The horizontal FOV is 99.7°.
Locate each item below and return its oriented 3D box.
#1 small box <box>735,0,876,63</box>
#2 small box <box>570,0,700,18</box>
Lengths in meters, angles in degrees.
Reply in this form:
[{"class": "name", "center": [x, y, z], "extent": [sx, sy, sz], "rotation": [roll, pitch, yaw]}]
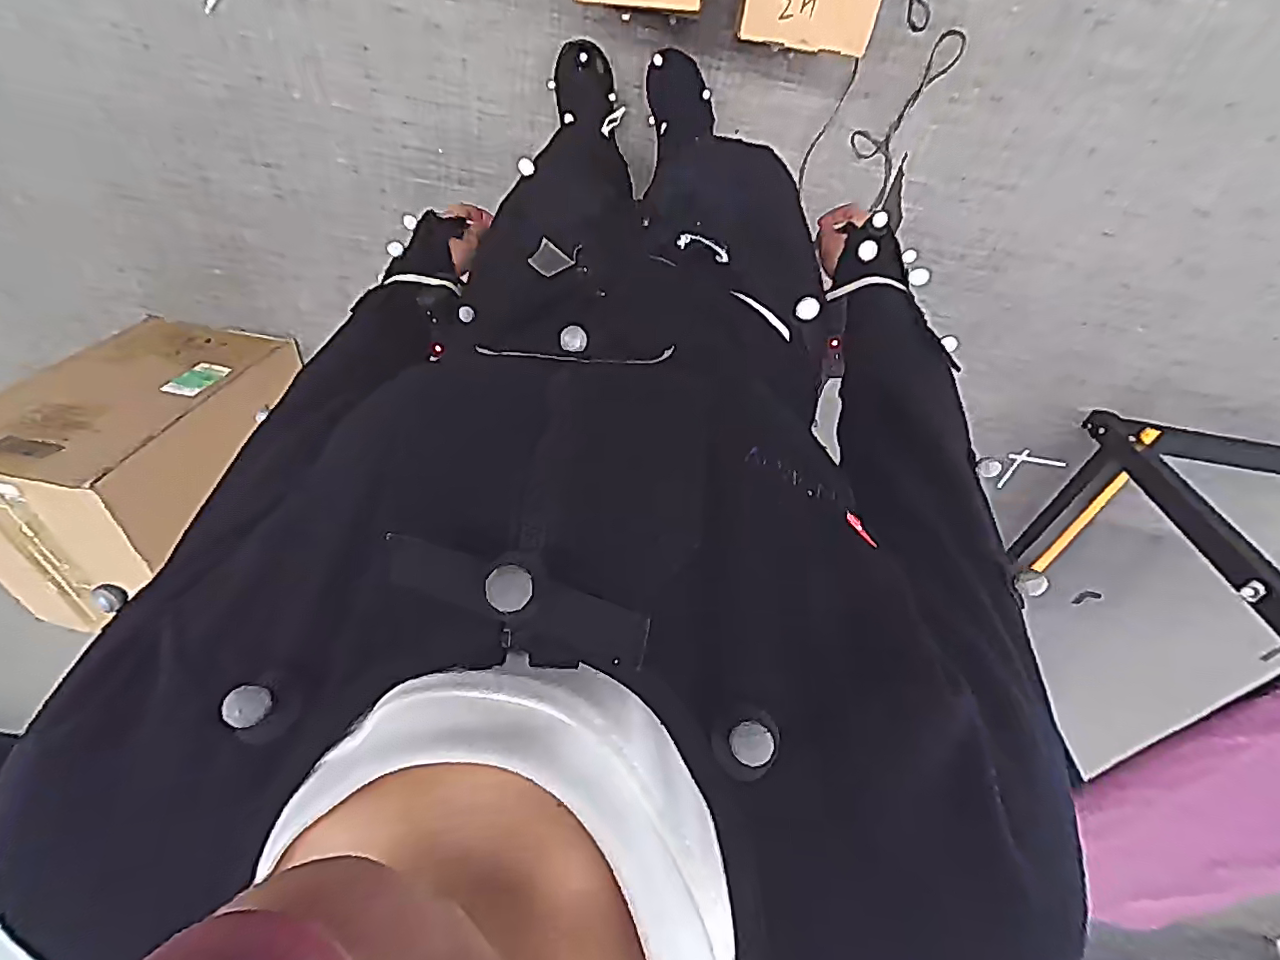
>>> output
[{"class": "small box", "center": [0.223, -0.676, 0.711], "extent": [0.168, 0.176, 0.179], "rotation": [10, 131, 0]}, {"class": "small box", "center": [0.004, -0.724, 0.704], "extent": [0.168, 0.176, 0.179], "rotation": [7, 129, 2]}]
